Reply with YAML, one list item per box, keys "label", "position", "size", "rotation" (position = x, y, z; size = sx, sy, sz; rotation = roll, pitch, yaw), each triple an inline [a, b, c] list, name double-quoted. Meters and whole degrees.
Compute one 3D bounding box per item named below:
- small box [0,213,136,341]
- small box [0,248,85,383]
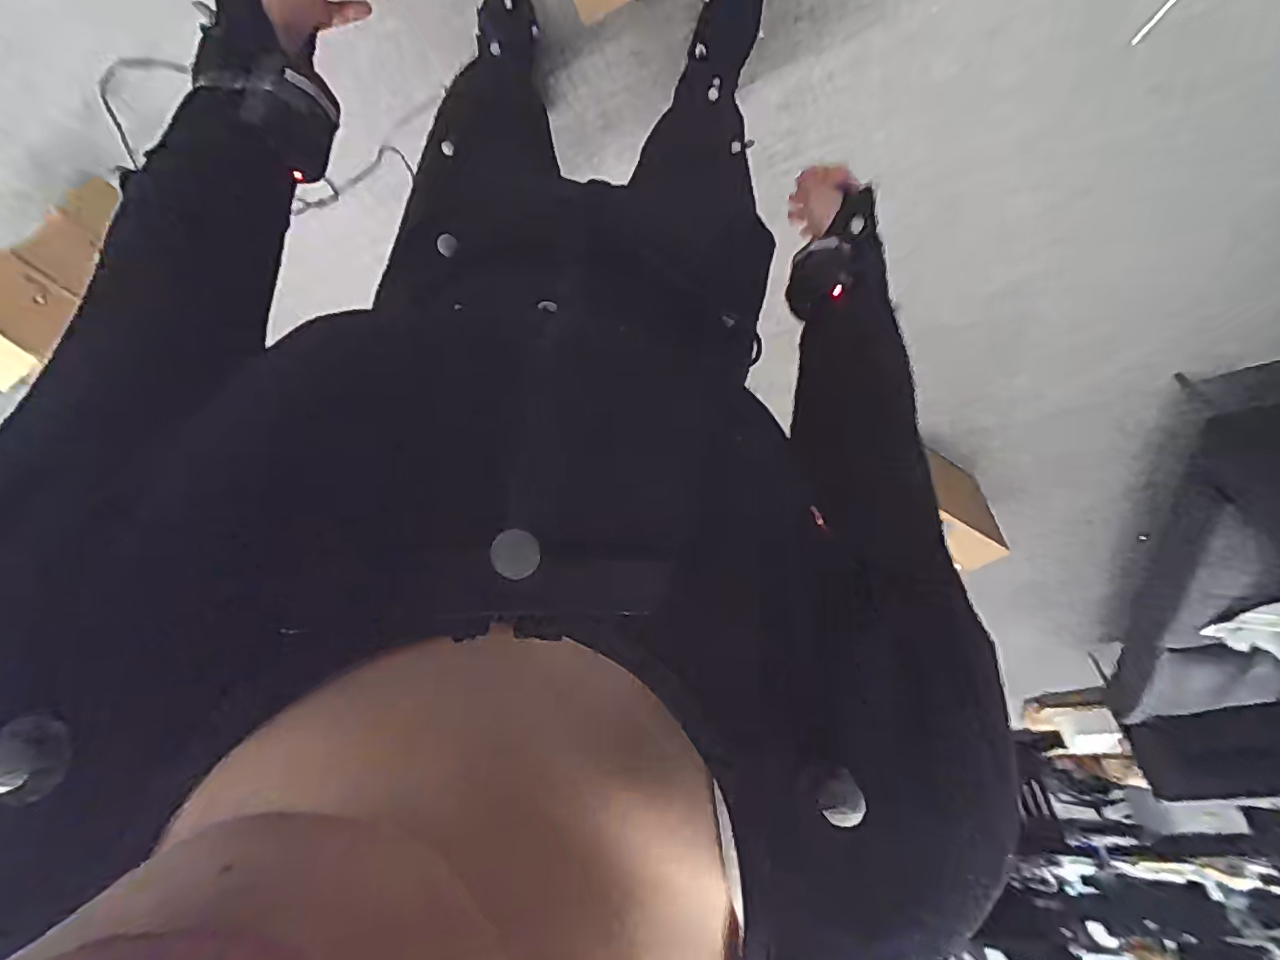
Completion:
- label: "small box"
  position: [-1.279, -0.445, 1.188]
  size: [0.179, 0.176, 0.168]
  rotation: [-19, 136, 23]
- label: "small box"
  position: [-1.283, -0.325, 1.077]
  size: [0.179, 0.176, 0.168]
  rotation: [-20, 135, 23]
